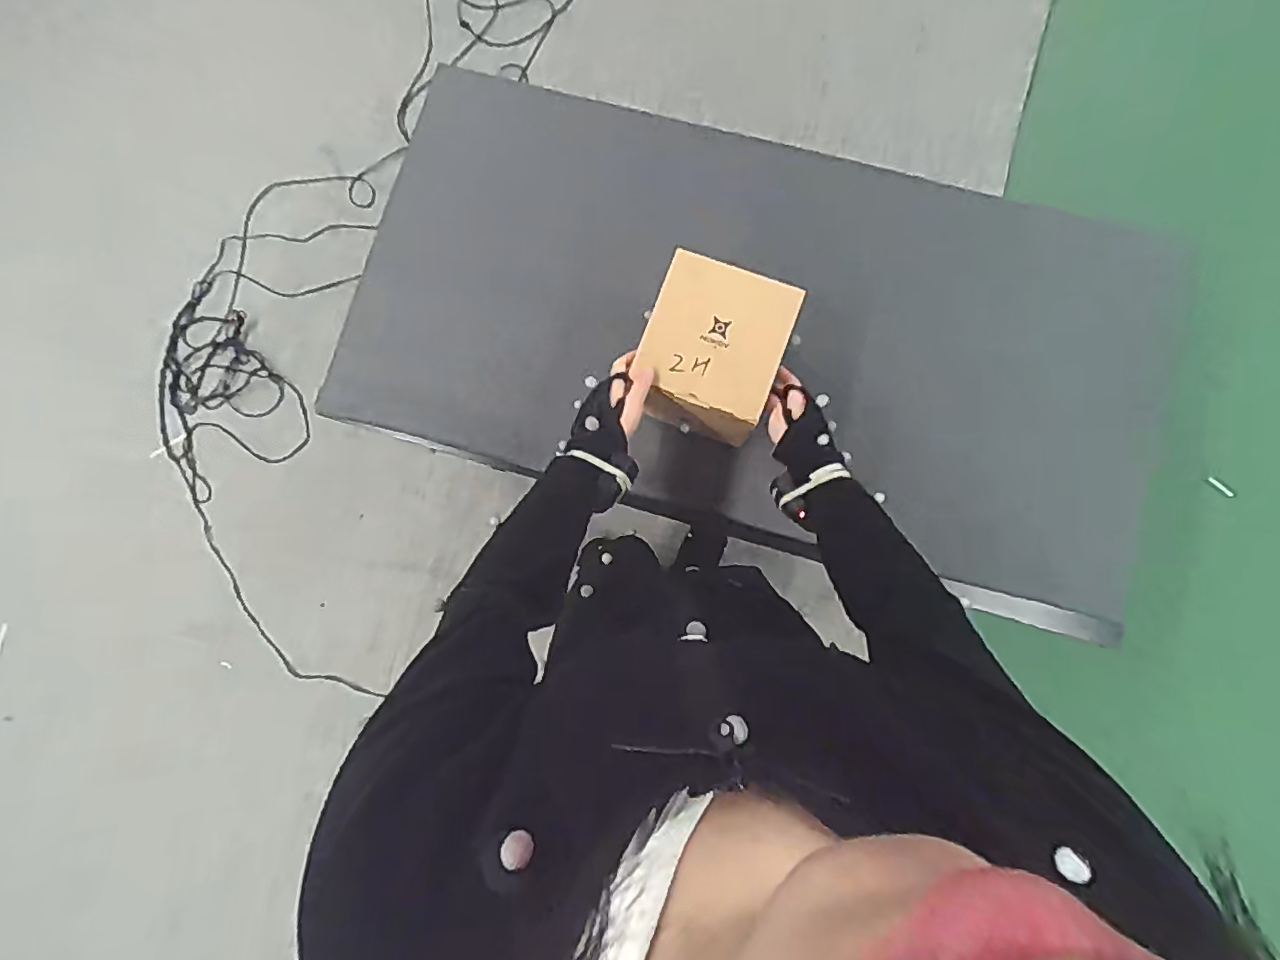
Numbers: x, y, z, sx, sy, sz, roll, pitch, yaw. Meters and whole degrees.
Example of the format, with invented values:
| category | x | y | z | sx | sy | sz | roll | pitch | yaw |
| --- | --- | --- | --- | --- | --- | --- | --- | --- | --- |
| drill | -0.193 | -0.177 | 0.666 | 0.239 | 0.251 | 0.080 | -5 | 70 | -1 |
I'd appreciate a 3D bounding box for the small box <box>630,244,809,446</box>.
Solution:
| category | x | y | z | sx | sy | sz | roll | pitch | yaw |
| --- | --- | --- | --- | --- | --- | --- | --- | --- | --- |
| small box | 0.094 | -0.162 | 0.704 | 0.168 | 0.176 | 0.179 | 20 | 84 | 5 |
